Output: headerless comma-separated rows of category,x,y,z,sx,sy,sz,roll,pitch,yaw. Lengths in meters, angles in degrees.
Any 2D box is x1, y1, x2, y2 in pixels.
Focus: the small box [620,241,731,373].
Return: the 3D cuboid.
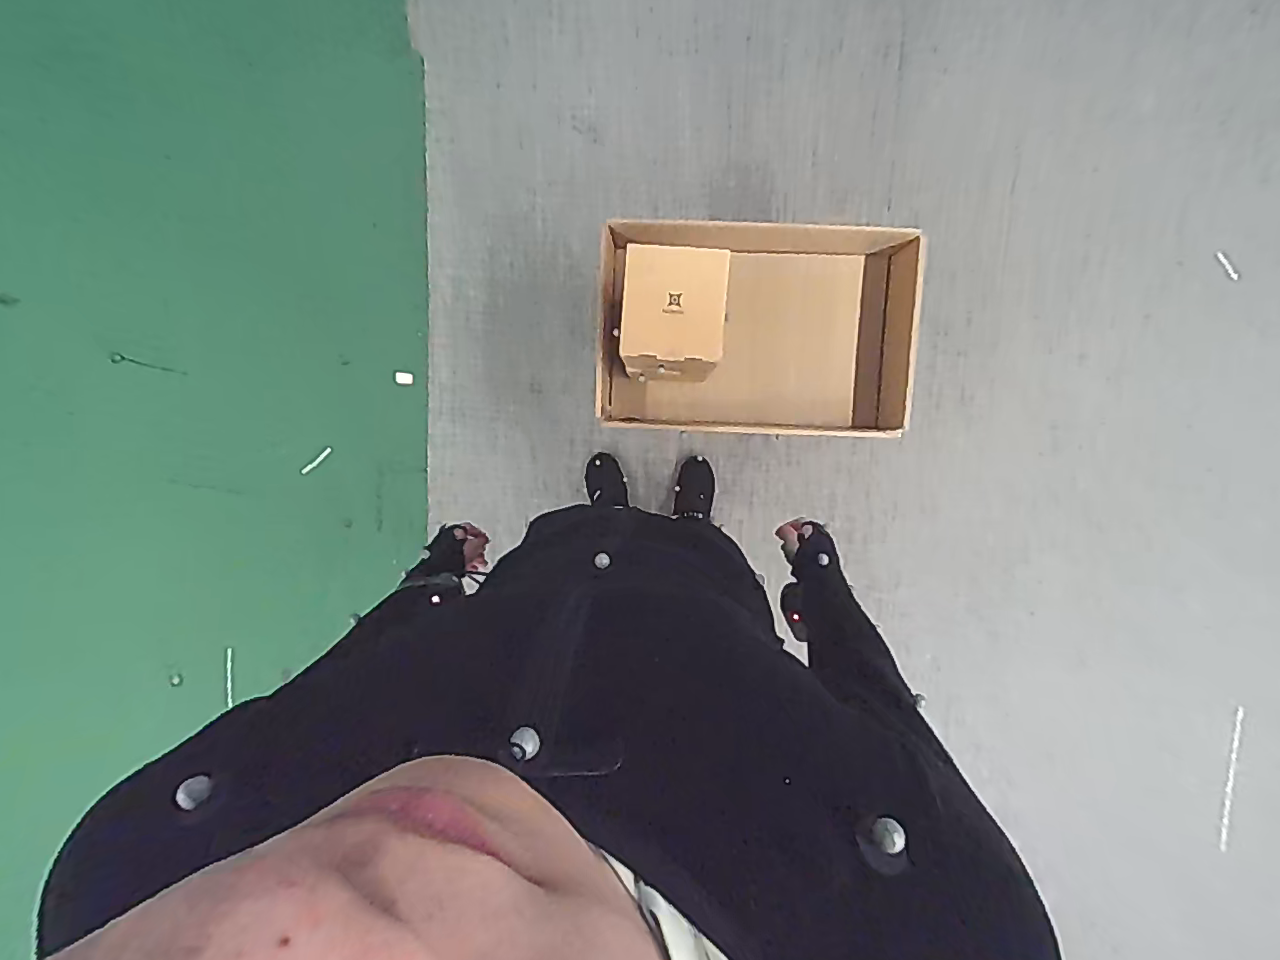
small box,0.056,-0.288,0.933,0.168,0.176,0.179,4,95,1
